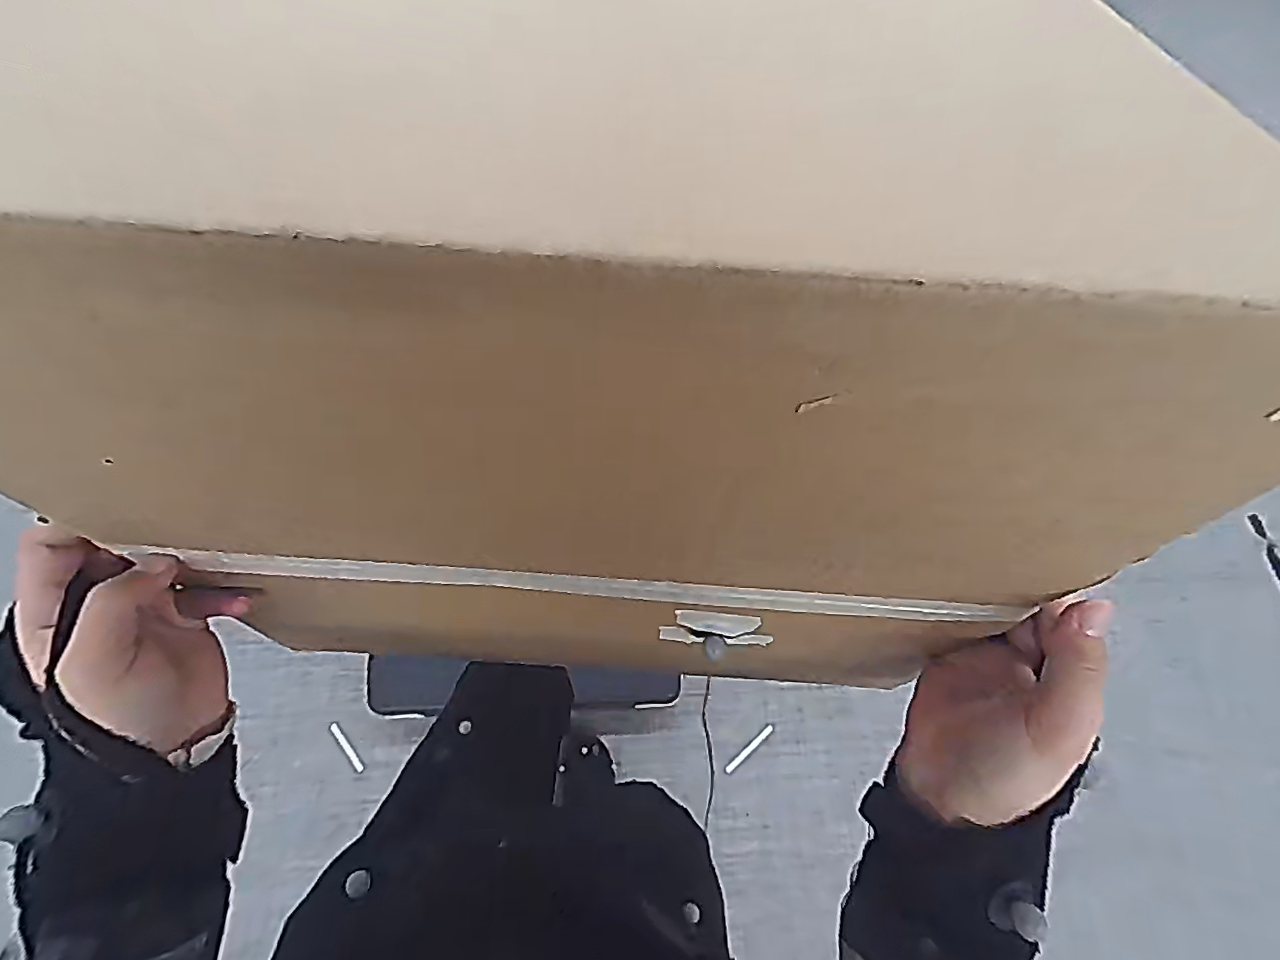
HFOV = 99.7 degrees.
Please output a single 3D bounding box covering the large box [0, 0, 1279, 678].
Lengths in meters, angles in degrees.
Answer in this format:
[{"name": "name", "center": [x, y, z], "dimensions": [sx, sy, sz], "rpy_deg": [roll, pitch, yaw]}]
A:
[{"name": "large box", "center": [-0.021, -0.084, 0.329], "dimensions": [0.408, 0.320, 0.320], "rpy_deg": [3, 57, -1]}]
